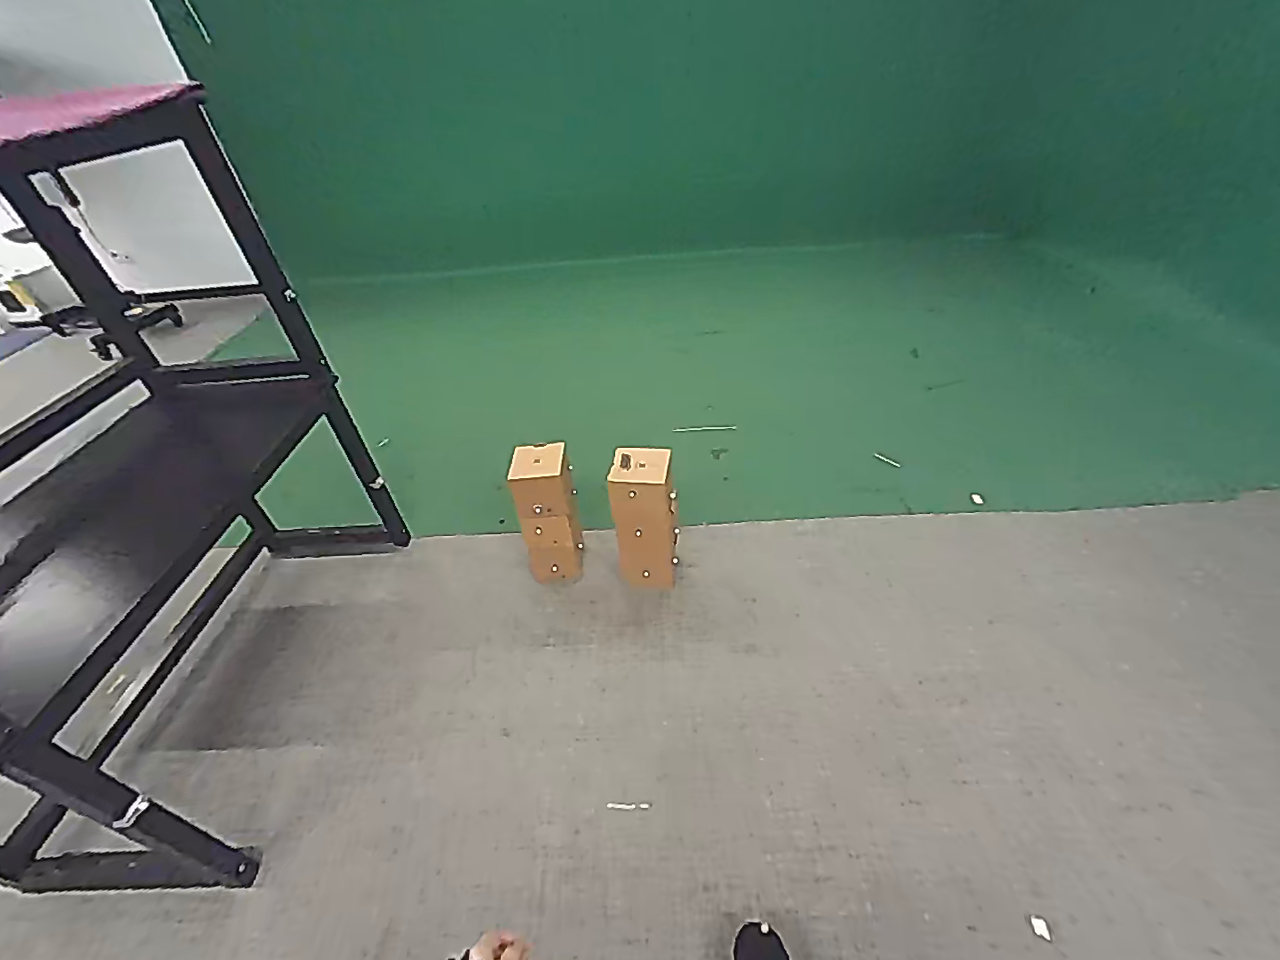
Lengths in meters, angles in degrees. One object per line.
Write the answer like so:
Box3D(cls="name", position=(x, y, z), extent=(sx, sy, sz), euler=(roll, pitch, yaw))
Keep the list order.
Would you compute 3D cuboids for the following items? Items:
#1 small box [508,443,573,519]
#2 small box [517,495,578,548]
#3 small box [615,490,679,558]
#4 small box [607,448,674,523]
Box3D(cls="small box", position=(-0.314, 0.004, 1.749), extent=(0.168, 0.176, 0.179), euler=(-7, 40, 2))
Box3D(cls="small box", position=(-0.311, 0.121, 1.864), extent=(0.168, 0.176, 0.179), euler=(-4, 39, 4))
Box3D(cls="small box", position=(0.028, 0.142, 1.788), extent=(0.179, 0.176, 0.168), euler=(4, 42, 12))
Box3D(cls="small box", position=(0.007, 0.017, 1.683), extent=(0.179, 0.176, 0.168), euler=(2, 41, 10))
